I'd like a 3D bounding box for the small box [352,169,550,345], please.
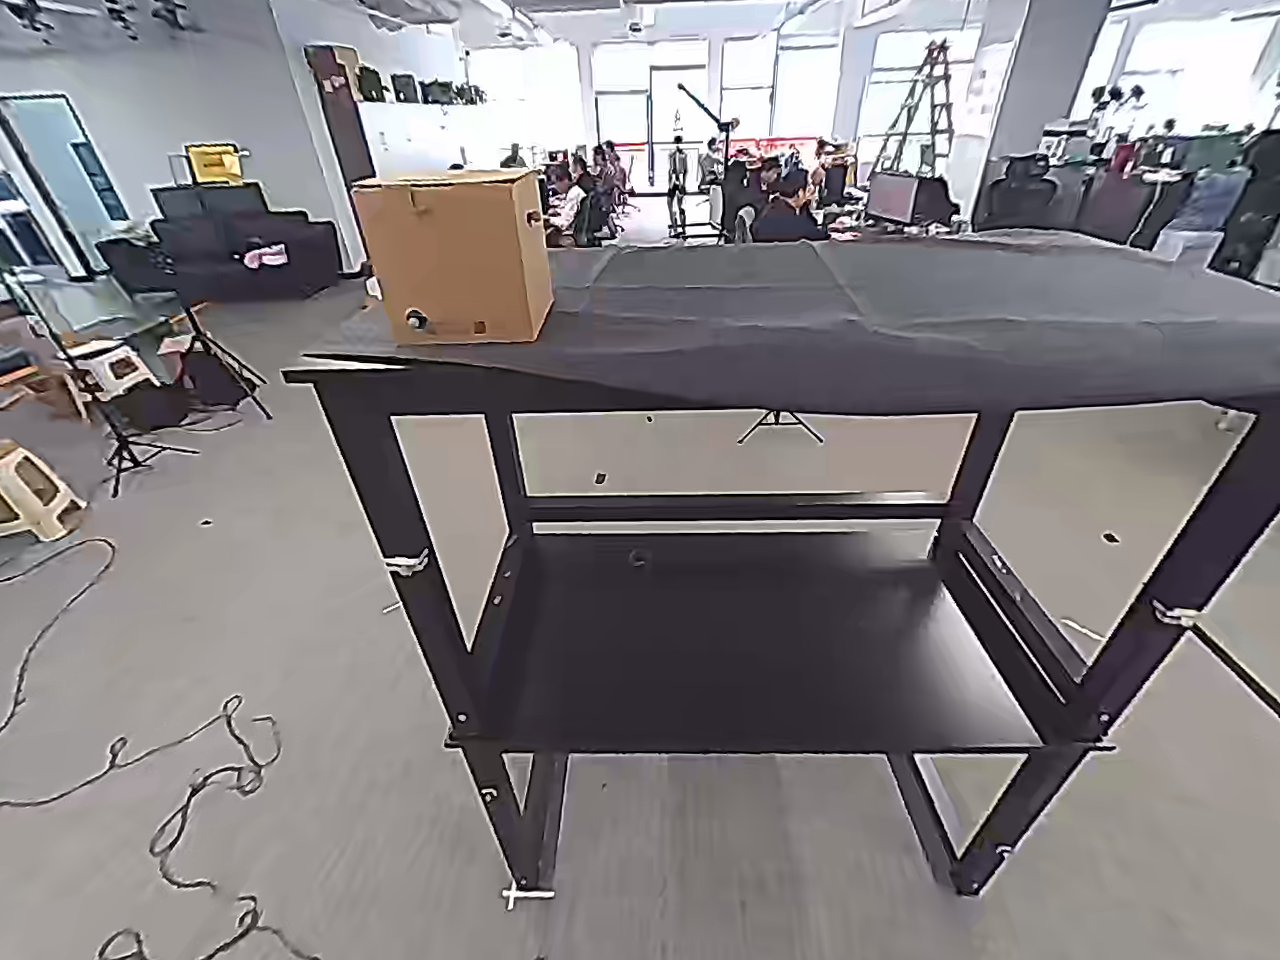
[{"bbox_3d":[-0.207,-0.269,0.654,0.168,0.176,0.179,-1,34,0],"label":"small box"}]
